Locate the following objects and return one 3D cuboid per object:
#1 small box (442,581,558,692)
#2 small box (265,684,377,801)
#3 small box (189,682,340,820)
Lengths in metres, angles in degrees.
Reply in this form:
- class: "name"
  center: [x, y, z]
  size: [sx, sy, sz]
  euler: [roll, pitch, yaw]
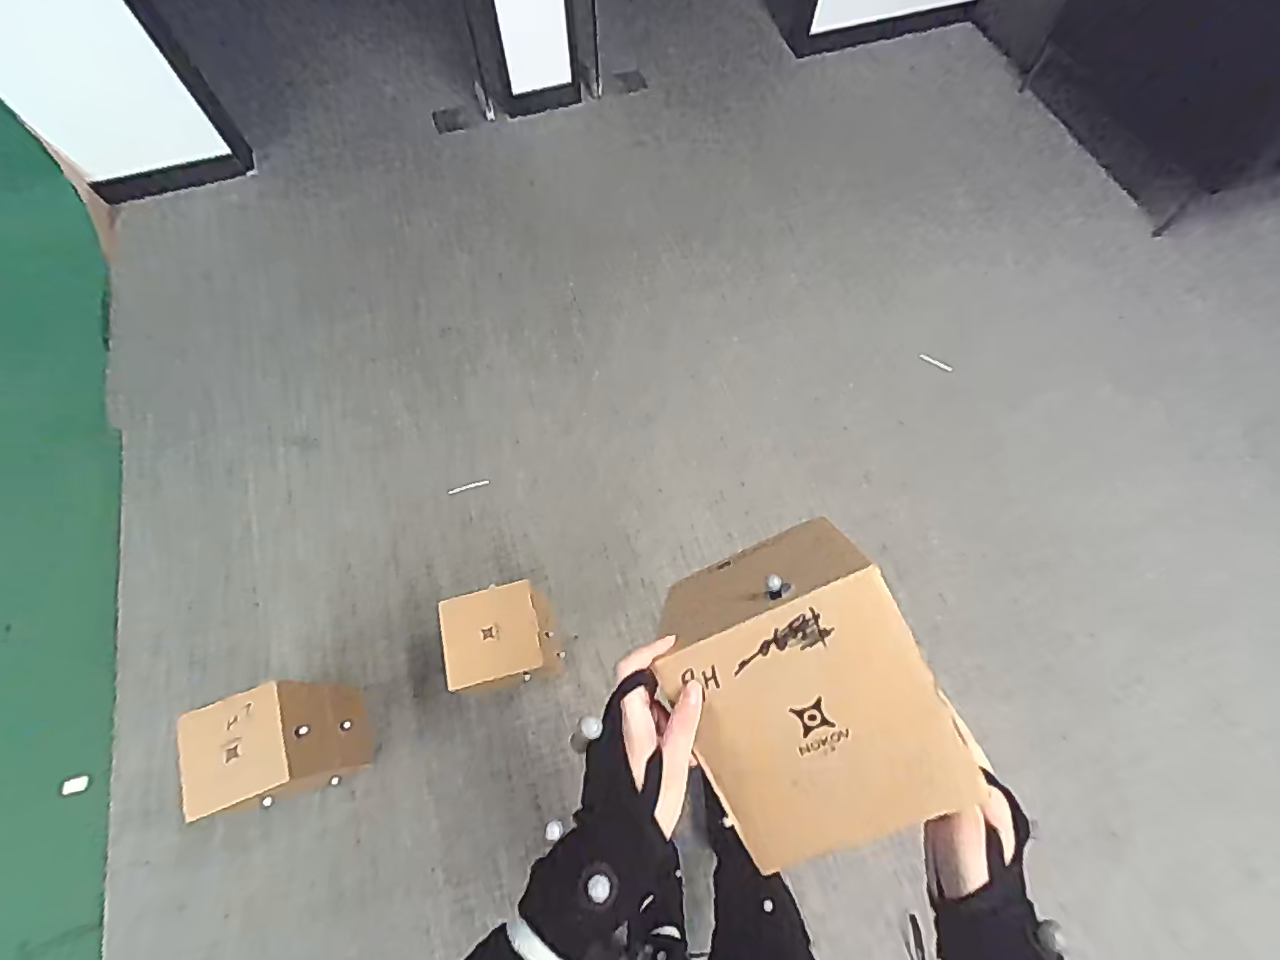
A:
- class: "small box"
  center: [-0.274, 0.318, 1.078]
  size: [0.179, 0.176, 0.168]
  euler: [-14, 68, -6]
- class: "small box"
  center: [-0.687, 0.552, 1.157]
  size: [0.168, 0.176, 0.179]
  euler: [-18, 68, -8]
- class: "small box"
  center: [-0.687, 0.491, 1.004]
  size: [0.168, 0.176, 0.179]
  euler: [-19, 68, -9]
